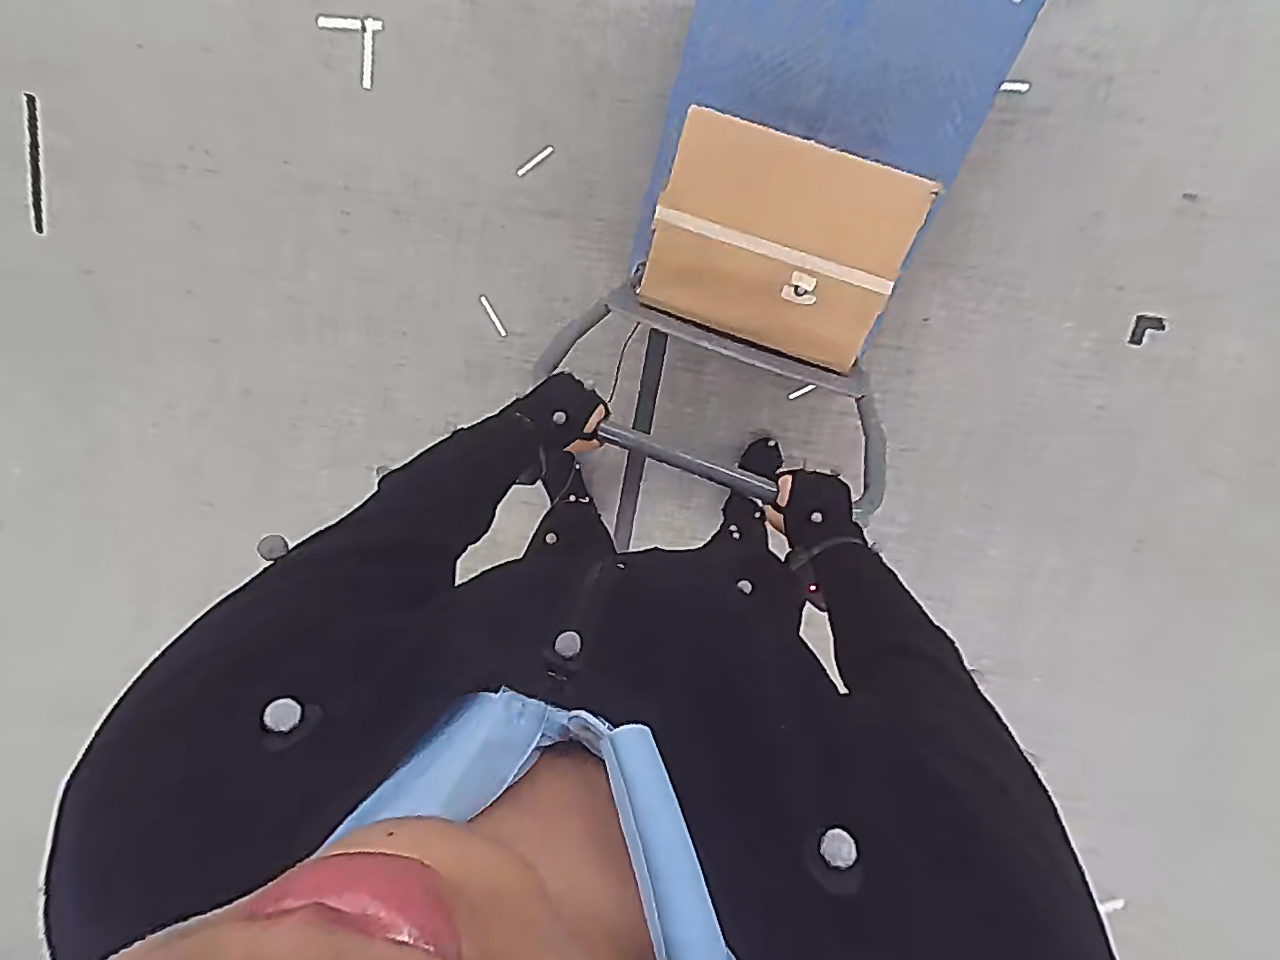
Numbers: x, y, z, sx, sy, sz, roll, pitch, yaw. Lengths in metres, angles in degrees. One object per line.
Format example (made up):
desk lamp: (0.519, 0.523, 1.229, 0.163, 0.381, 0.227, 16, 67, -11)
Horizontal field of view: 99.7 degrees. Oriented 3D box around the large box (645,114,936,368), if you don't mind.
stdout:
large box: (0.261, -0.458, 1.045, 0.408, 0.320, 0.320, 20, 121, 3)
